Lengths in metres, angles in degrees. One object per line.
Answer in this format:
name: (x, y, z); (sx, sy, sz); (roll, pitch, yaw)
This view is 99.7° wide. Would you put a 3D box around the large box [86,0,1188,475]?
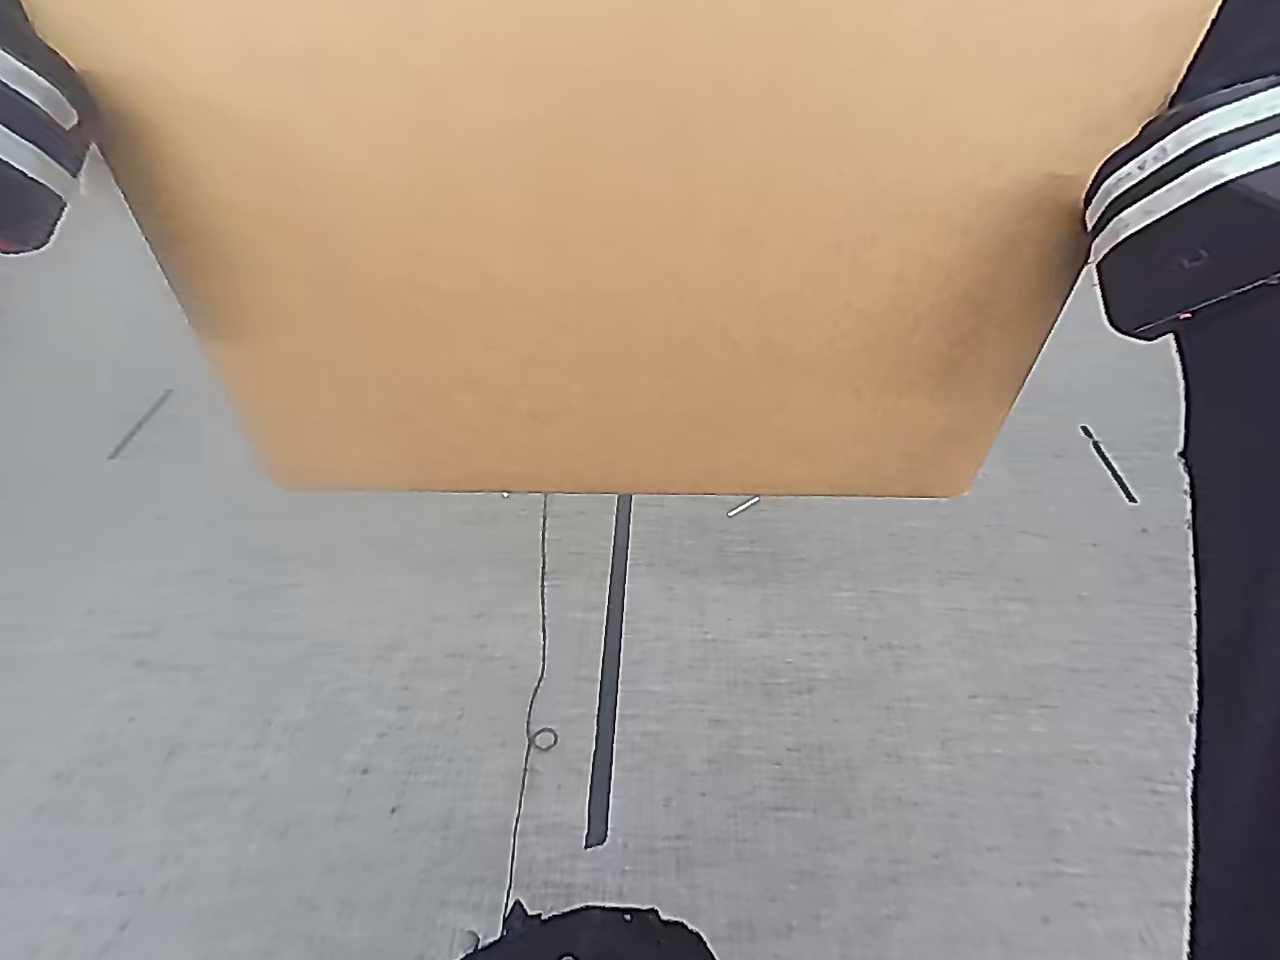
large box: (-0.004, -0.213, 0.345); (0.408, 0.320, 0.320); (1, 39, -2)
